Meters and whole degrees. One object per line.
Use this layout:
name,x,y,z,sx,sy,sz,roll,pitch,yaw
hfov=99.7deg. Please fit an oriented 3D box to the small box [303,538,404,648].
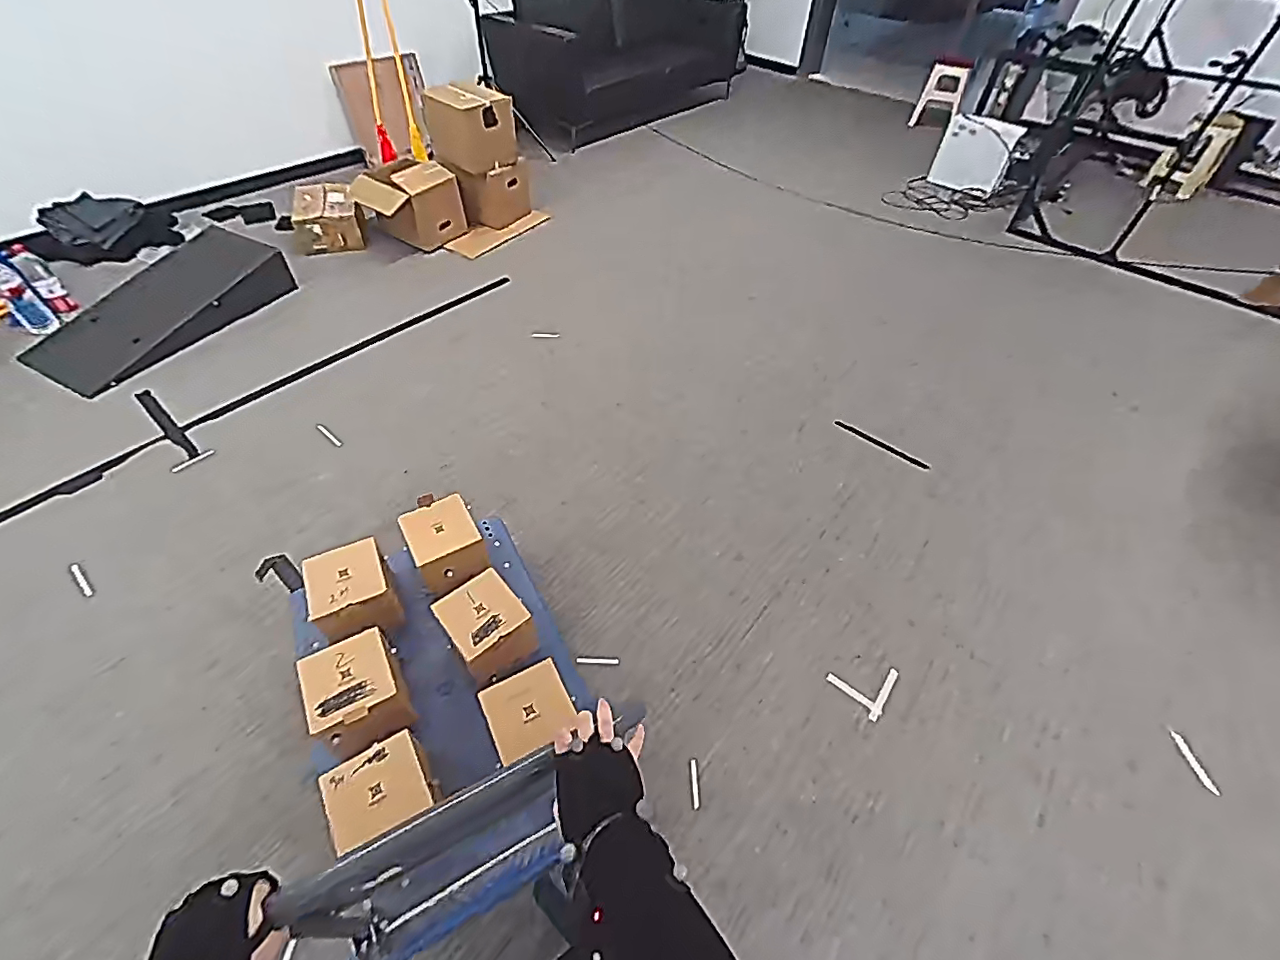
small box,-0.699,0.278,1.328,0.168,0.176,0.179,-20,54,-20

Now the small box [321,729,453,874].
small box,-0.480,0.625,1.044,0.168,0.176,0.179,-24,55,-24

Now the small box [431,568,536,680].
small box,-0.366,0.351,1.292,0.168,0.176,0.179,-33,58,-28

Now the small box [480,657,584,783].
small box,-0.225,0.521,1.158,0.168,0.176,0.179,-21,53,-22

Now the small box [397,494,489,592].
small box,-0.516,0.174,1.435,0.168,0.176,0.179,-25,55,-23
